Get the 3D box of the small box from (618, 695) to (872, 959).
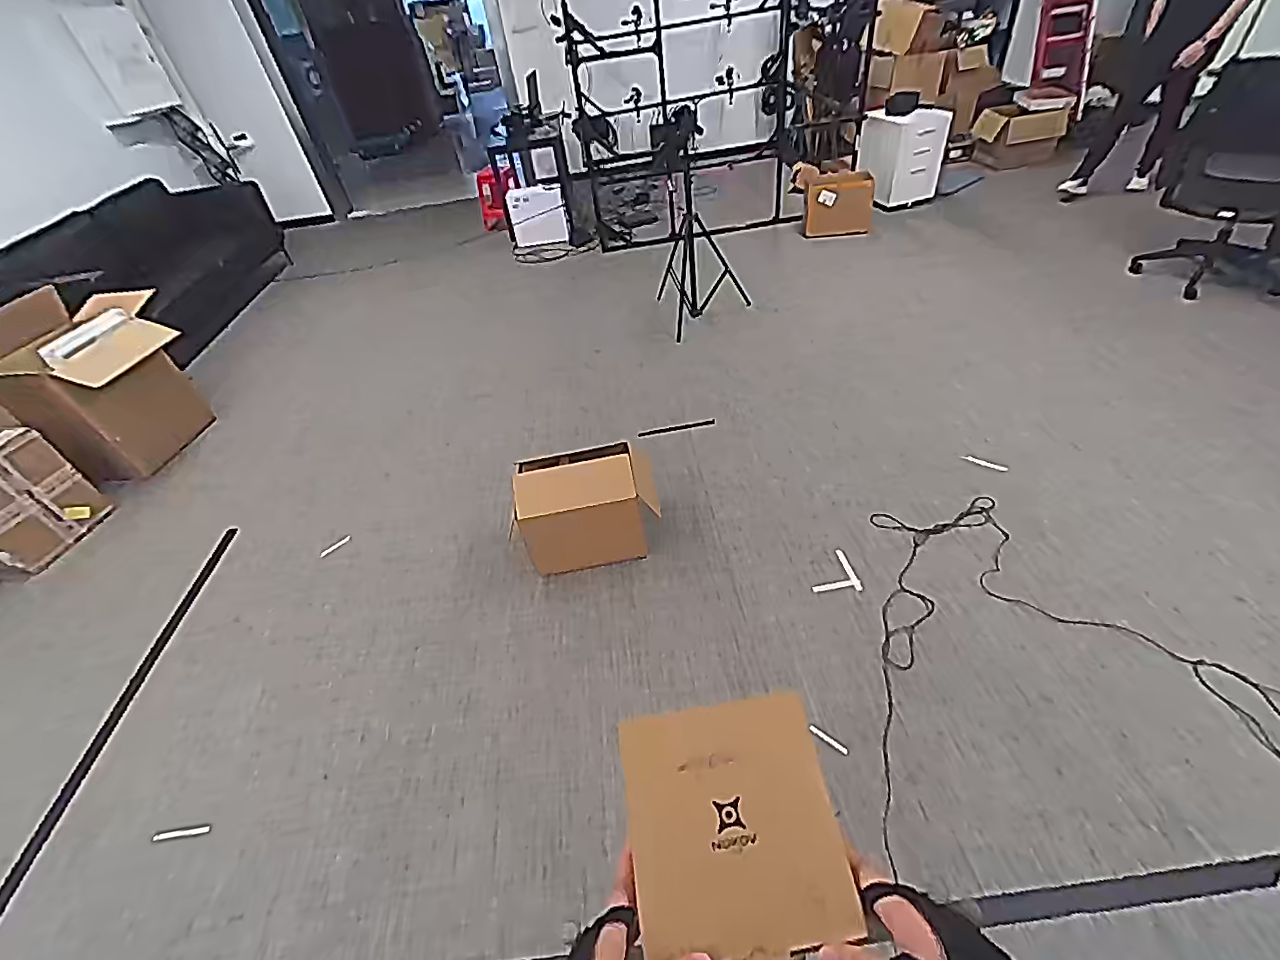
[{"bbox_3d":[0.079,0.316,0.490,0.168,0.176,0.179,-10,54,-2],"label":"small box"}]
